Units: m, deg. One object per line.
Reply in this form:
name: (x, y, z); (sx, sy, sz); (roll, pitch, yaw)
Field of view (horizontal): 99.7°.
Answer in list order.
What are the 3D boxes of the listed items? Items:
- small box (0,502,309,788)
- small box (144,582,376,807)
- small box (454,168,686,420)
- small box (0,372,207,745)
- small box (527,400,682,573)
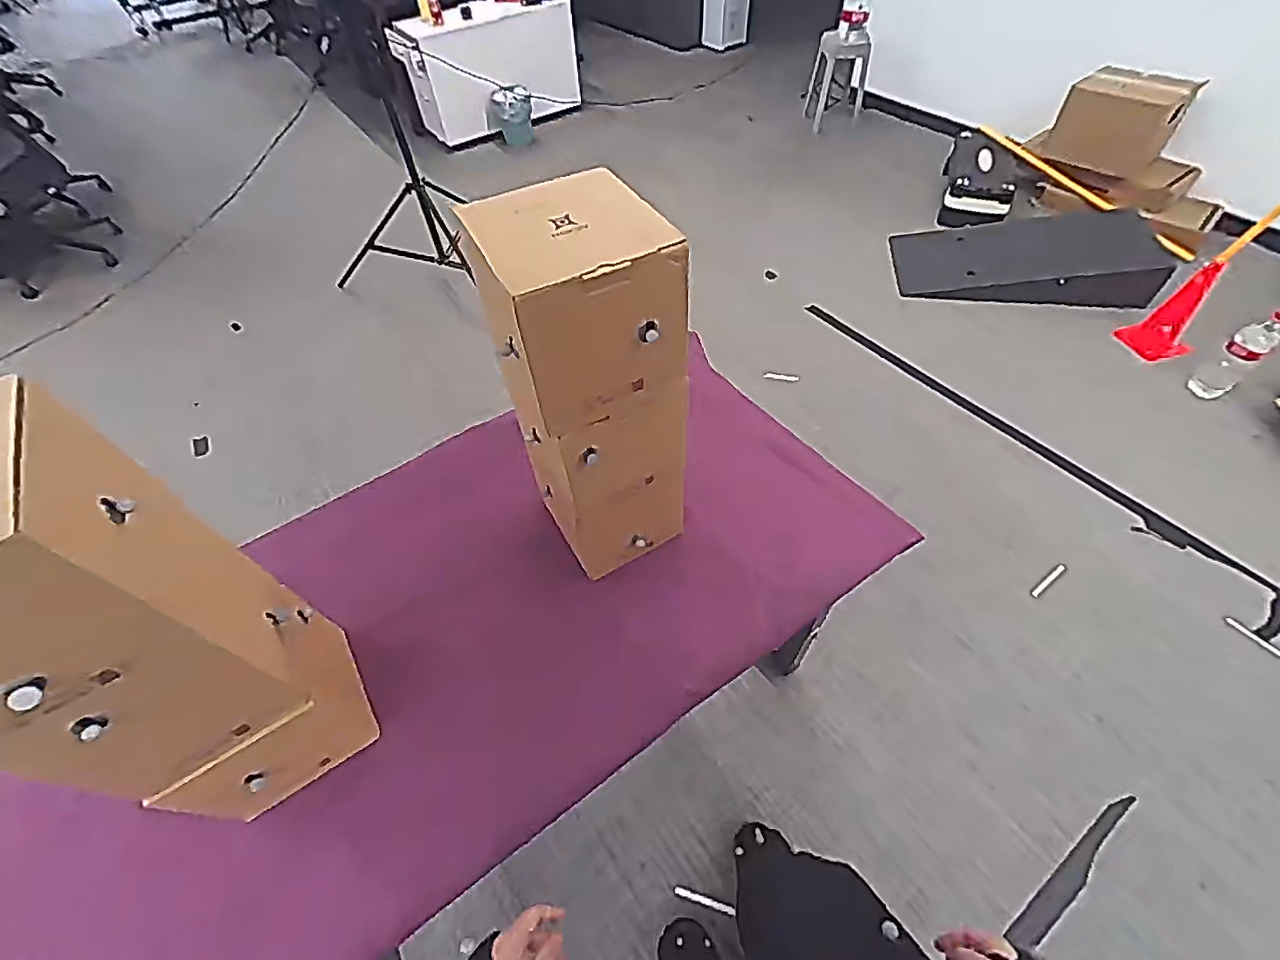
small box: (-0.461, 0.161, 0.523); (0.168, 0.176, 0.179); (-31, 57, -18)
small box: (-0.450, 0.263, 0.651); (0.168, 0.176, 0.179); (-30, 57, -18)
small box: (-0.065, -0.183, 0.555); (0.168, 0.176, 0.179); (-24, 54, -16)
small box: (-0.464, 0.060, 0.392); (0.168, 0.176, 0.179); (-30, 58, -18)
small box: (-0.051, 0.008, 0.820); (0.168, 0.176, 0.179); (-27, 56, -15)
